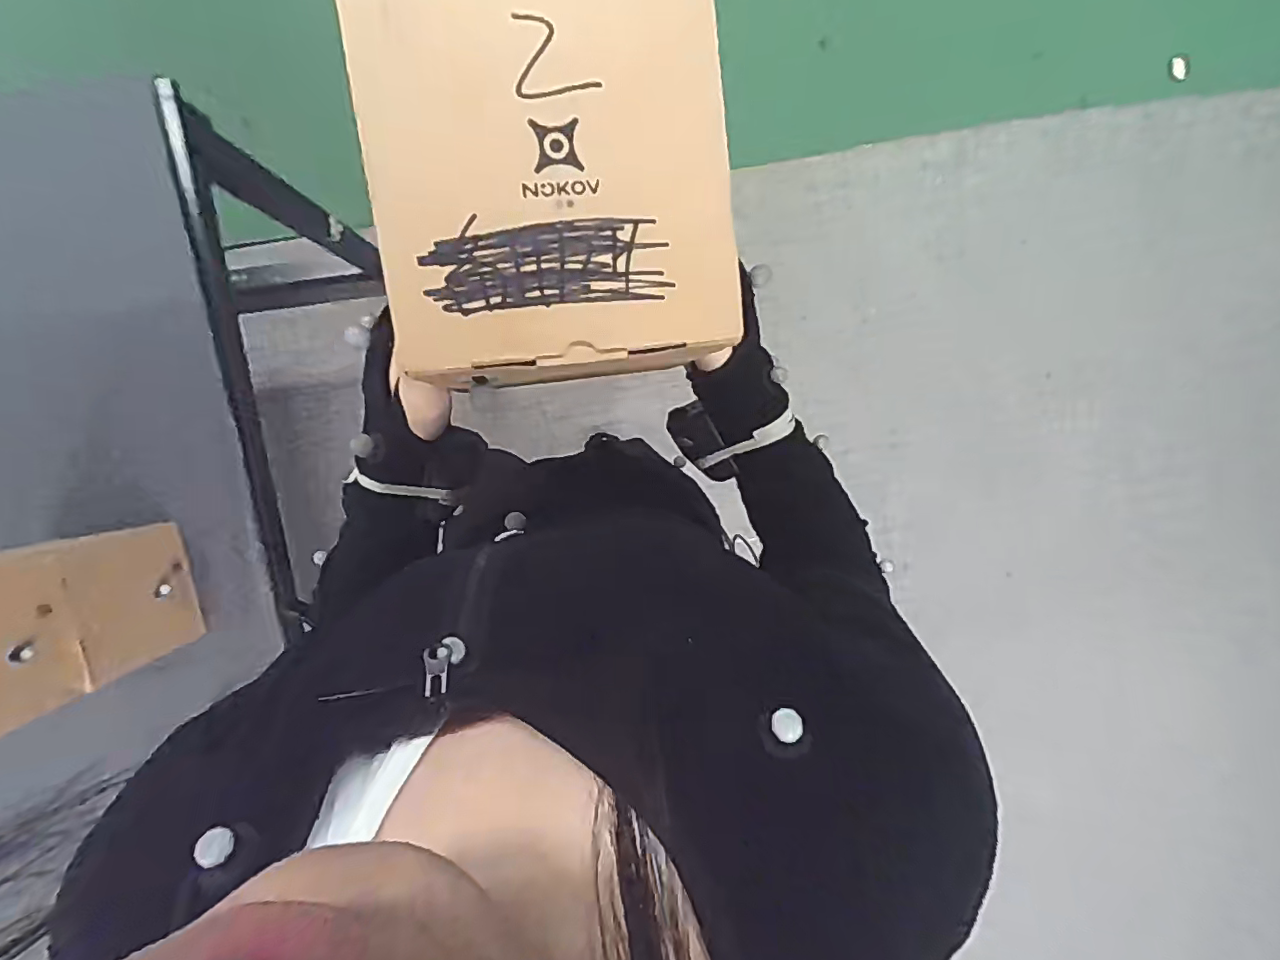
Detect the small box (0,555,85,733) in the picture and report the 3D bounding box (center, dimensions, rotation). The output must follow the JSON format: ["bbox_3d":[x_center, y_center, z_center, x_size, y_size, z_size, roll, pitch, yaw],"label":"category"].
[{"bbox_3d":[-0.700,0.178,0.505,0.179,0.176,0.168,-10,96,-1],"label":"small box"}]

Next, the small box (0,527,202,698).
[{"bbox_3d":[-0.704,0.162,0.667,0.179,0.176,0.168,-10,97,-1],"label":"small box"}]
